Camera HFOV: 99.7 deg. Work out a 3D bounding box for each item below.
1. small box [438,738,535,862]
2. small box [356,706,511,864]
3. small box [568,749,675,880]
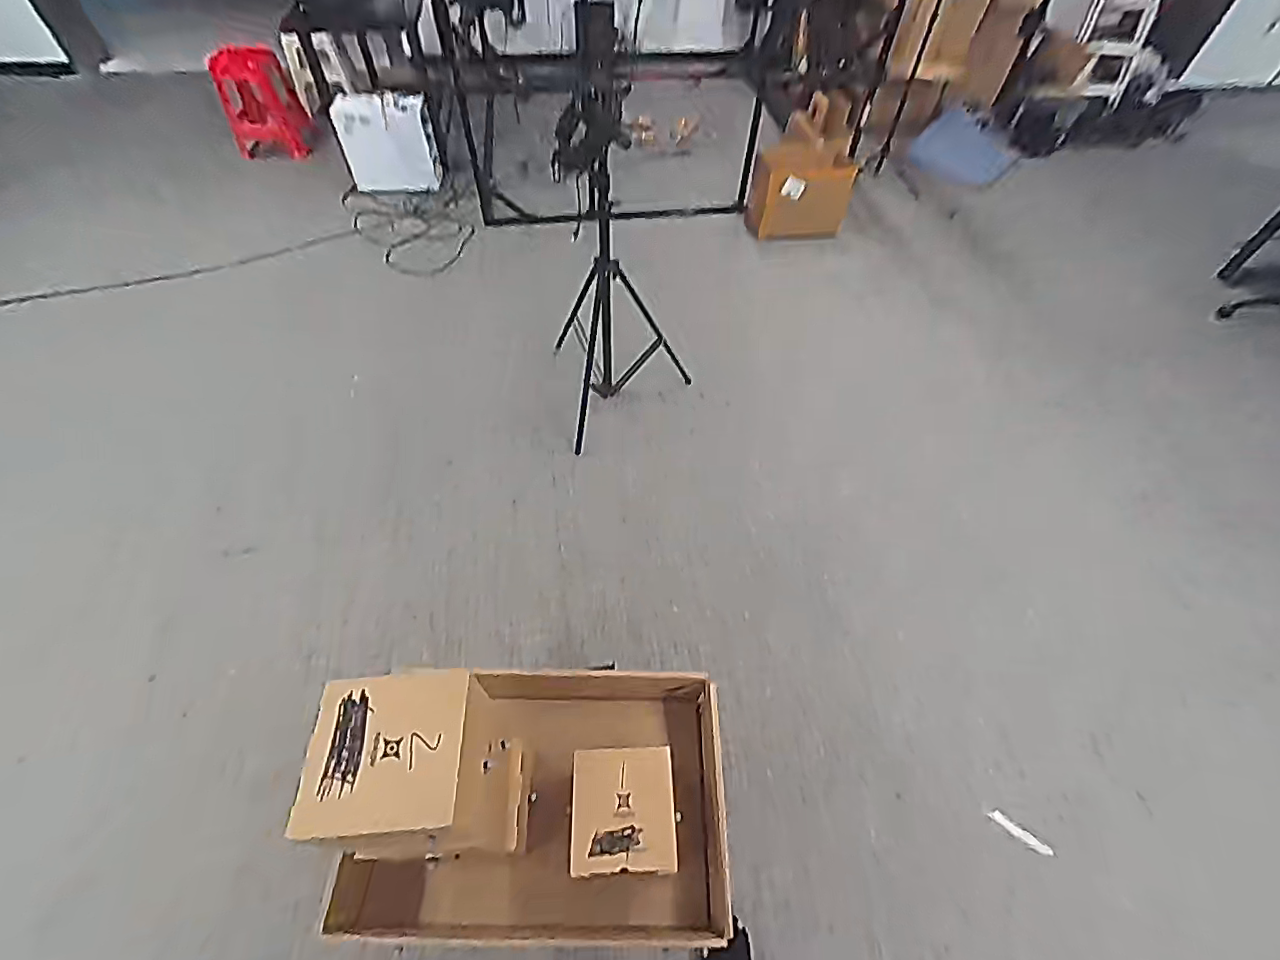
[{"bbox_3d":[-0.285,0.555,0.935,0.179,0.176,0.168,-1,54,-3],"label":"small box"},{"bbox_3d":[-0.290,0.456,0.805,0.168,0.176,0.179,-3,53,-4],"label":"small box"},{"bbox_3d":[-0.030,0.576,0.929,0.168,0.176,0.179,-1,53,-3],"label":"small box"}]
